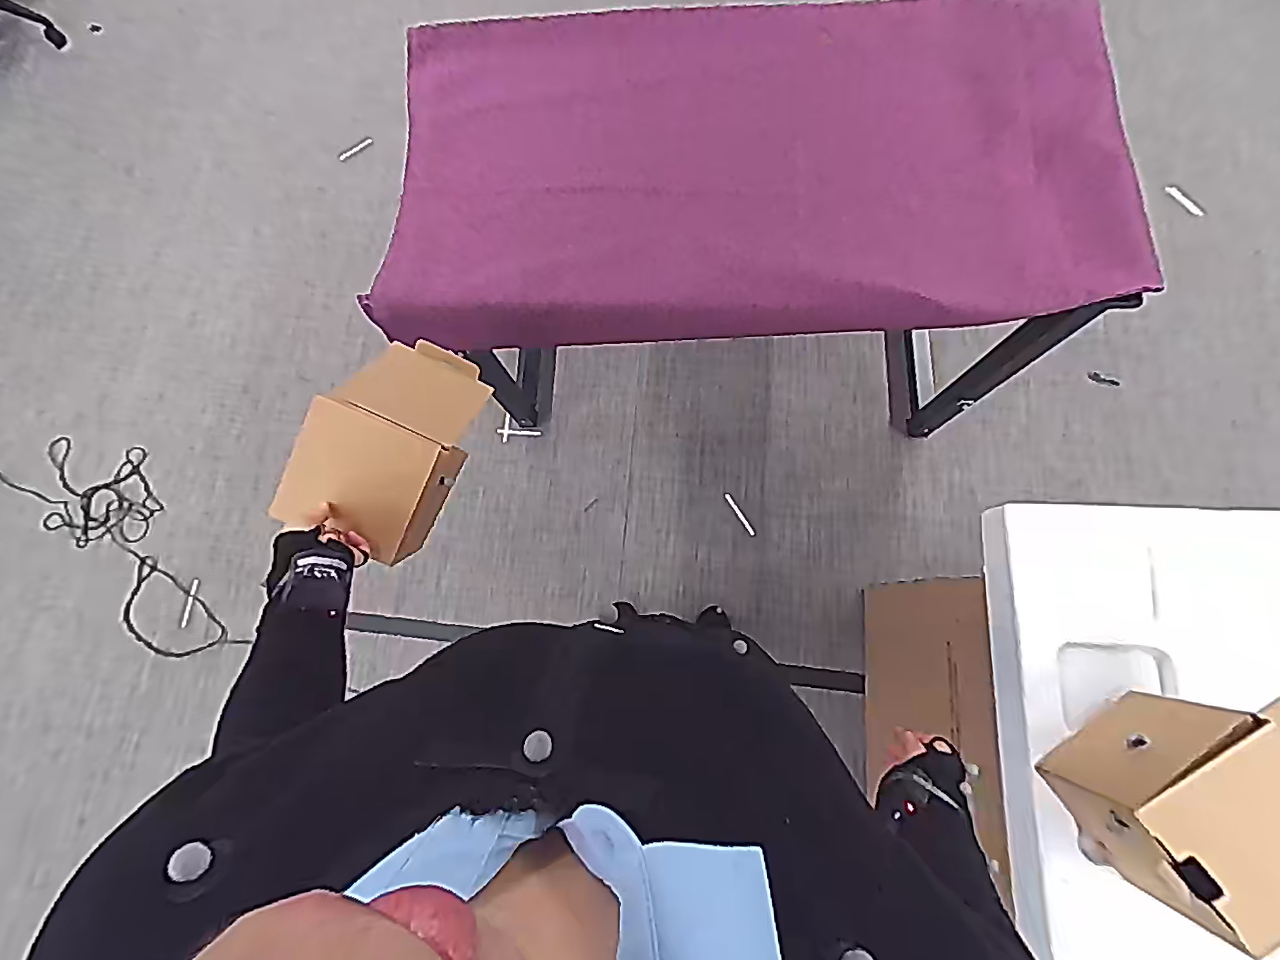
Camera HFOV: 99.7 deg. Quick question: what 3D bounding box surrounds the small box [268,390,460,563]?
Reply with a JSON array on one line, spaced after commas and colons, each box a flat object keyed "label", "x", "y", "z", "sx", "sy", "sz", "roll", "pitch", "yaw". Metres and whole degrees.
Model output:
[{"label": "small box", "x": -0.374, "y": -0.005, "z": 0.775, "sx": 0.168, "sy": 0.176, "sz": 0.179, "roll": 26, "pitch": 87, "yaw": -9}]
